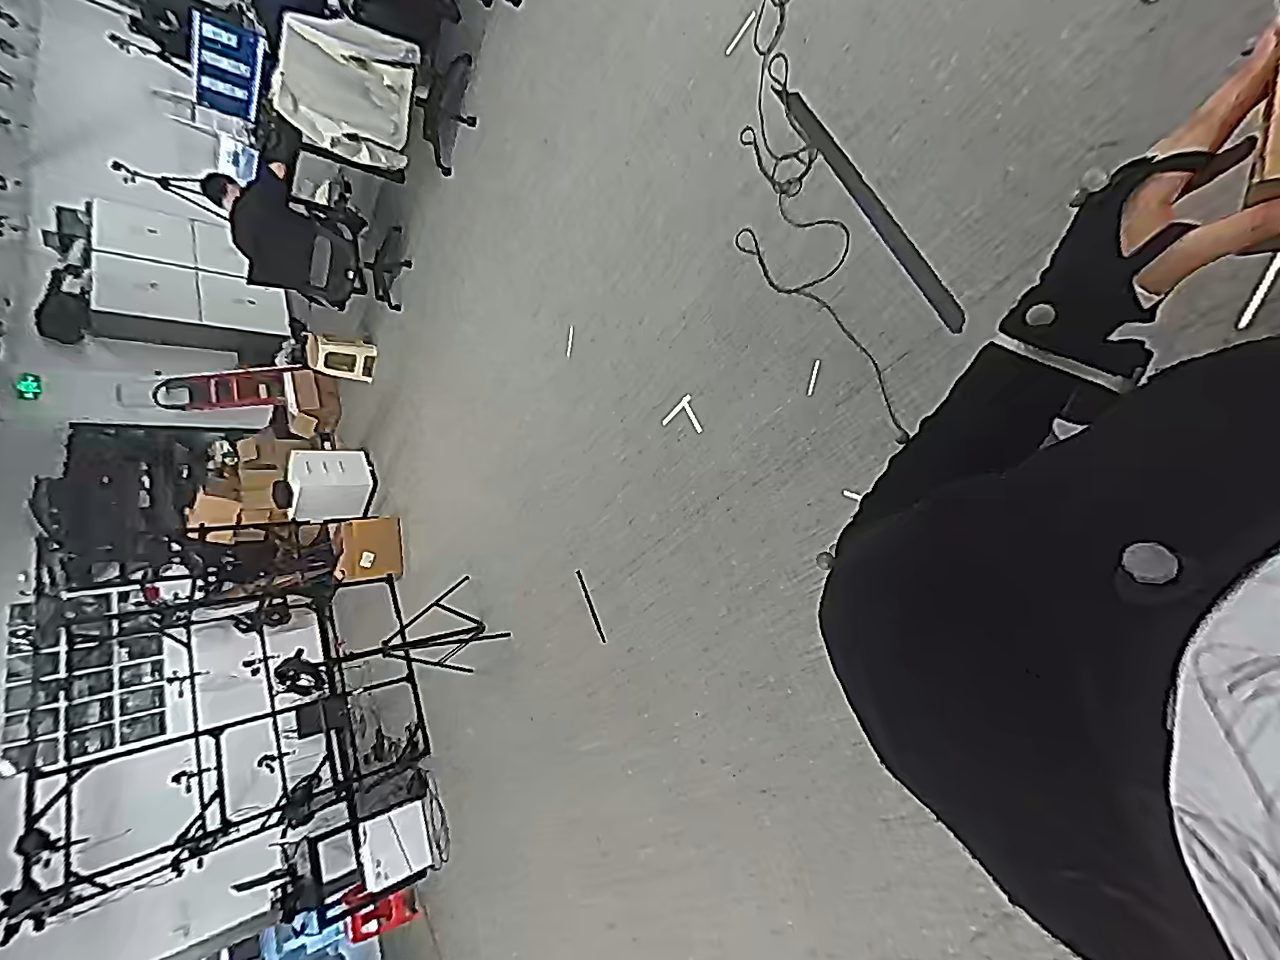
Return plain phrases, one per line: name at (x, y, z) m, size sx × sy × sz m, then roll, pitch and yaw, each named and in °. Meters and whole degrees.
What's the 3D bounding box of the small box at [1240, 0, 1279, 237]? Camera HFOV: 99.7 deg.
small box at (0.435, -0.234, 0.263) m, size 0.179 × 0.176 × 0.168 m, roll 10°, pitch 102°, yaw 45°
